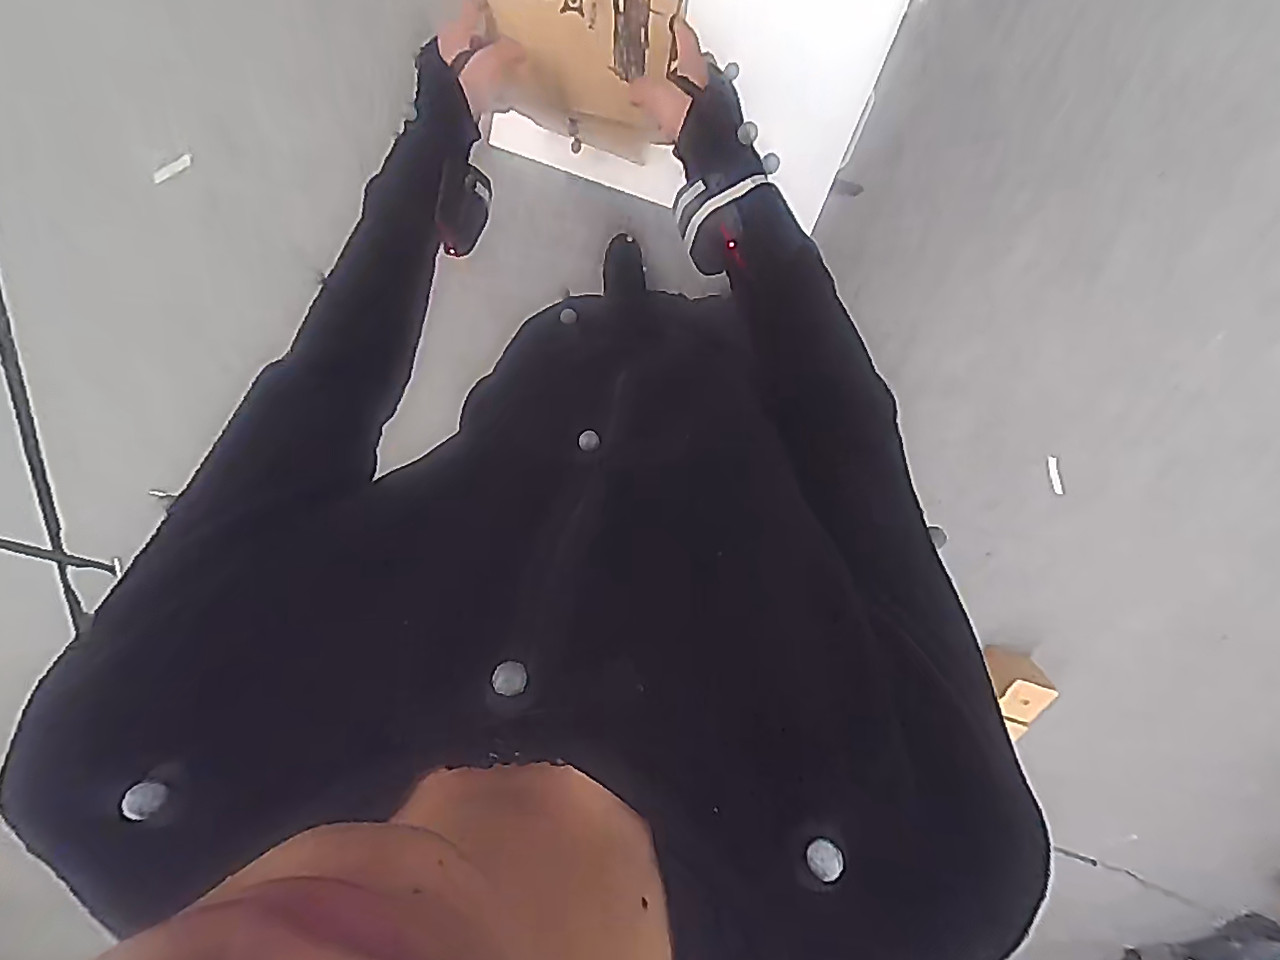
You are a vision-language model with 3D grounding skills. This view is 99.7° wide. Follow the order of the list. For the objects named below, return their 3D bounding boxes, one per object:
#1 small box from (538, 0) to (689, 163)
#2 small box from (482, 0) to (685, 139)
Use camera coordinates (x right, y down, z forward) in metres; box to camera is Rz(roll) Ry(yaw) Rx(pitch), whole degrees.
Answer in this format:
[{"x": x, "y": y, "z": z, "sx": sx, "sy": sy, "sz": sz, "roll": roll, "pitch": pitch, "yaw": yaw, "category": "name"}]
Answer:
[{"x": -0.046, "y": -0.538, "z": 0.701, "sx": 0.168, "sy": 0.176, "sz": 0.179, "roll": 17, "pitch": 115, "yaw": -6, "category": "small box"}, {"x": -0.048, "y": -0.462, "z": 0.551, "sx": 0.179, "sy": 0.176, "sz": 0.168, "roll": 10, "pitch": 117, "yaw": -2, "category": "small box"}]
